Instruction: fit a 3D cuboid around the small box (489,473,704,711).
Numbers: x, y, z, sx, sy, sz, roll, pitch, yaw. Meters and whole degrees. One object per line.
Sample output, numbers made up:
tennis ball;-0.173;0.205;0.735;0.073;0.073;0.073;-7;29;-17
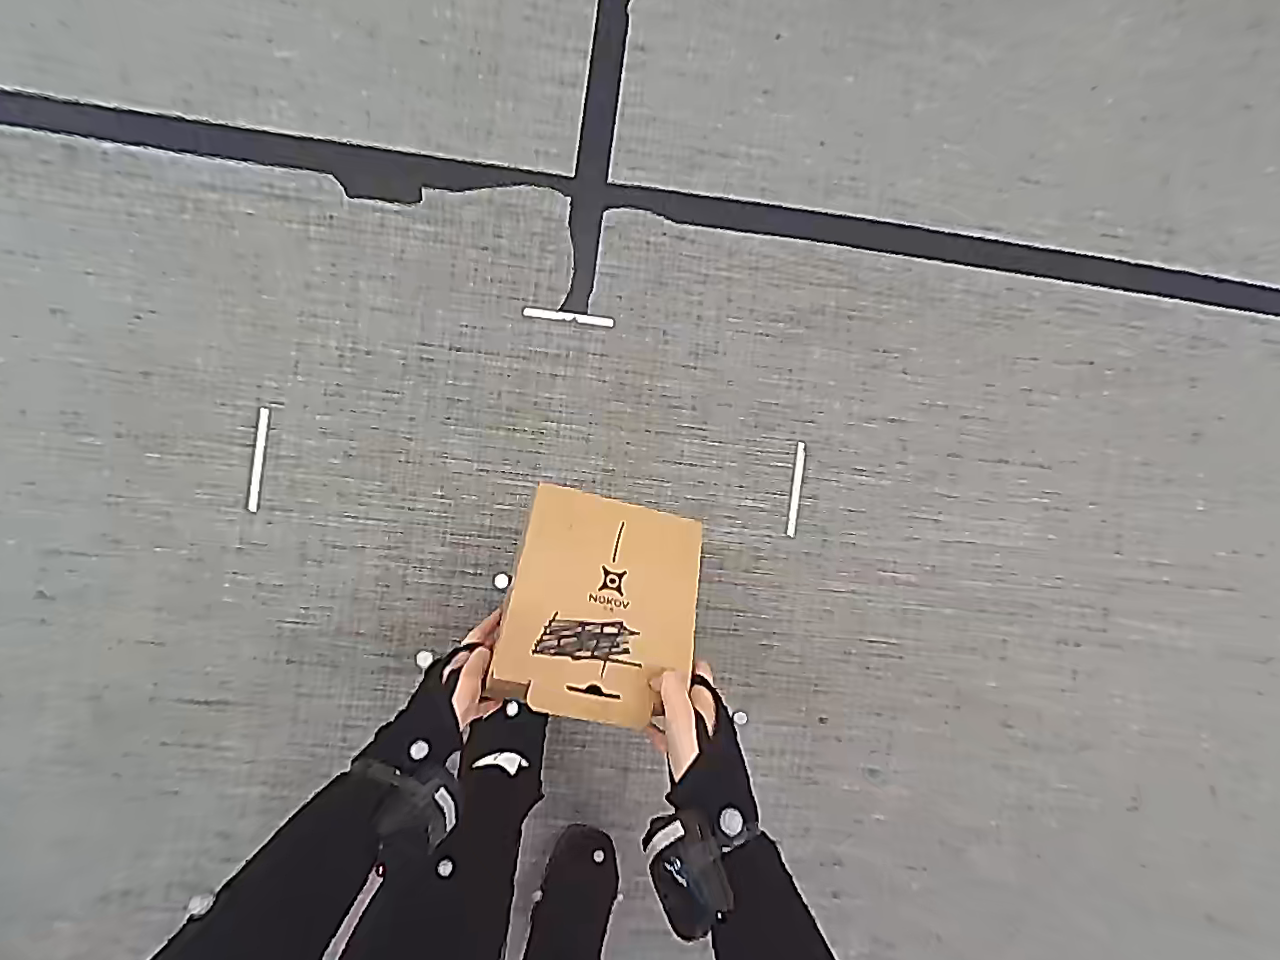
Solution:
small box;-0.048;0.124;0.541;0.168;0.176;0.179;15;59;-12
